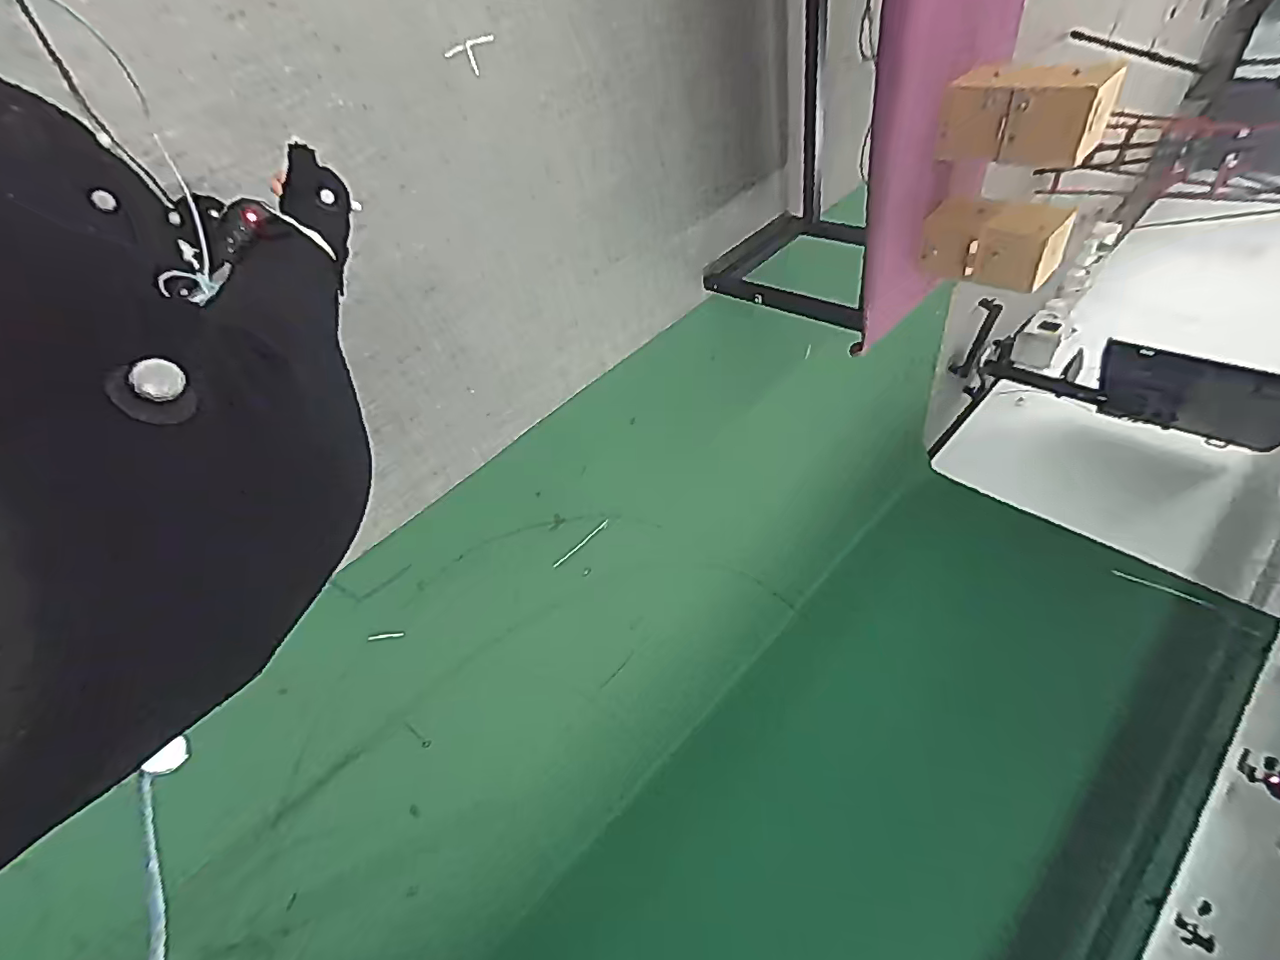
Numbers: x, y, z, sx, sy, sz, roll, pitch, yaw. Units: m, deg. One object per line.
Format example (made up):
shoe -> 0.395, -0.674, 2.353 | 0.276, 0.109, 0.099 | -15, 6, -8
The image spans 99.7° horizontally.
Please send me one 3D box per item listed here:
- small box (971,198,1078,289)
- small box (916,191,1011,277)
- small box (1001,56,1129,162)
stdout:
small box -> 1.073, -0.671, 1.522 | 0.179, 0.176, 0.168 | -41, 140, -19
small box -> 0.960, -0.741, 1.617 | 0.179, 0.176, 0.168 | -42, 140, -19
small box -> 0.998, -0.879, 1.285 | 0.179, 0.176, 0.168 | -41, 140, -22
